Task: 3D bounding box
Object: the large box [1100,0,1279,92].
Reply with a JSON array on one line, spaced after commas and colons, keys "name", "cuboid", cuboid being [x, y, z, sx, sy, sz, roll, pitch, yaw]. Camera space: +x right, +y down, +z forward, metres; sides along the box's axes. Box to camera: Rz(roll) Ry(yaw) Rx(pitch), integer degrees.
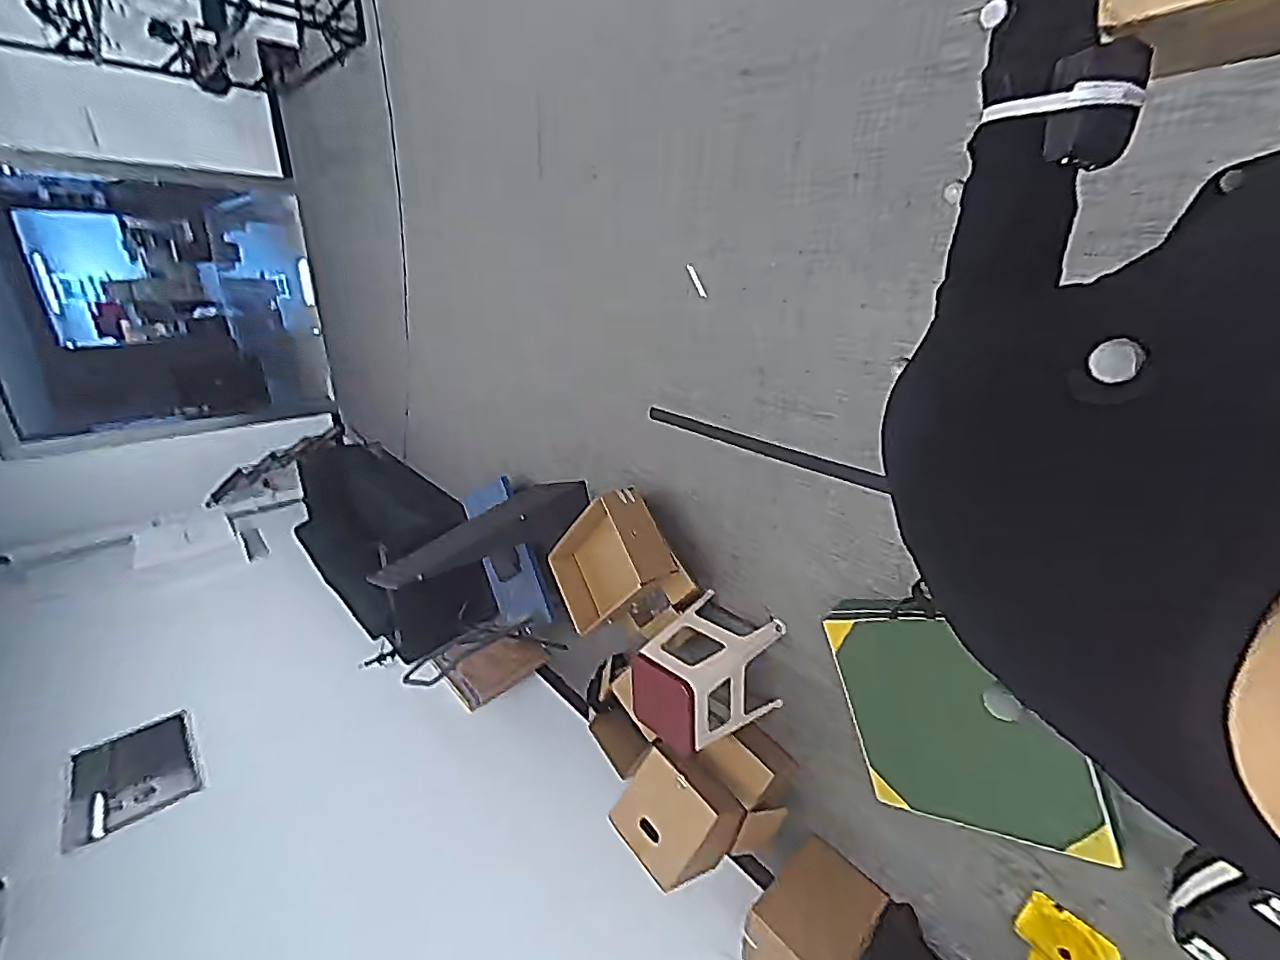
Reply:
[{"name": "large box", "cuboid": [0.526, -0.435, 0.261, 0.408, 0.320, 0.320, 16, 123, 41]}]
